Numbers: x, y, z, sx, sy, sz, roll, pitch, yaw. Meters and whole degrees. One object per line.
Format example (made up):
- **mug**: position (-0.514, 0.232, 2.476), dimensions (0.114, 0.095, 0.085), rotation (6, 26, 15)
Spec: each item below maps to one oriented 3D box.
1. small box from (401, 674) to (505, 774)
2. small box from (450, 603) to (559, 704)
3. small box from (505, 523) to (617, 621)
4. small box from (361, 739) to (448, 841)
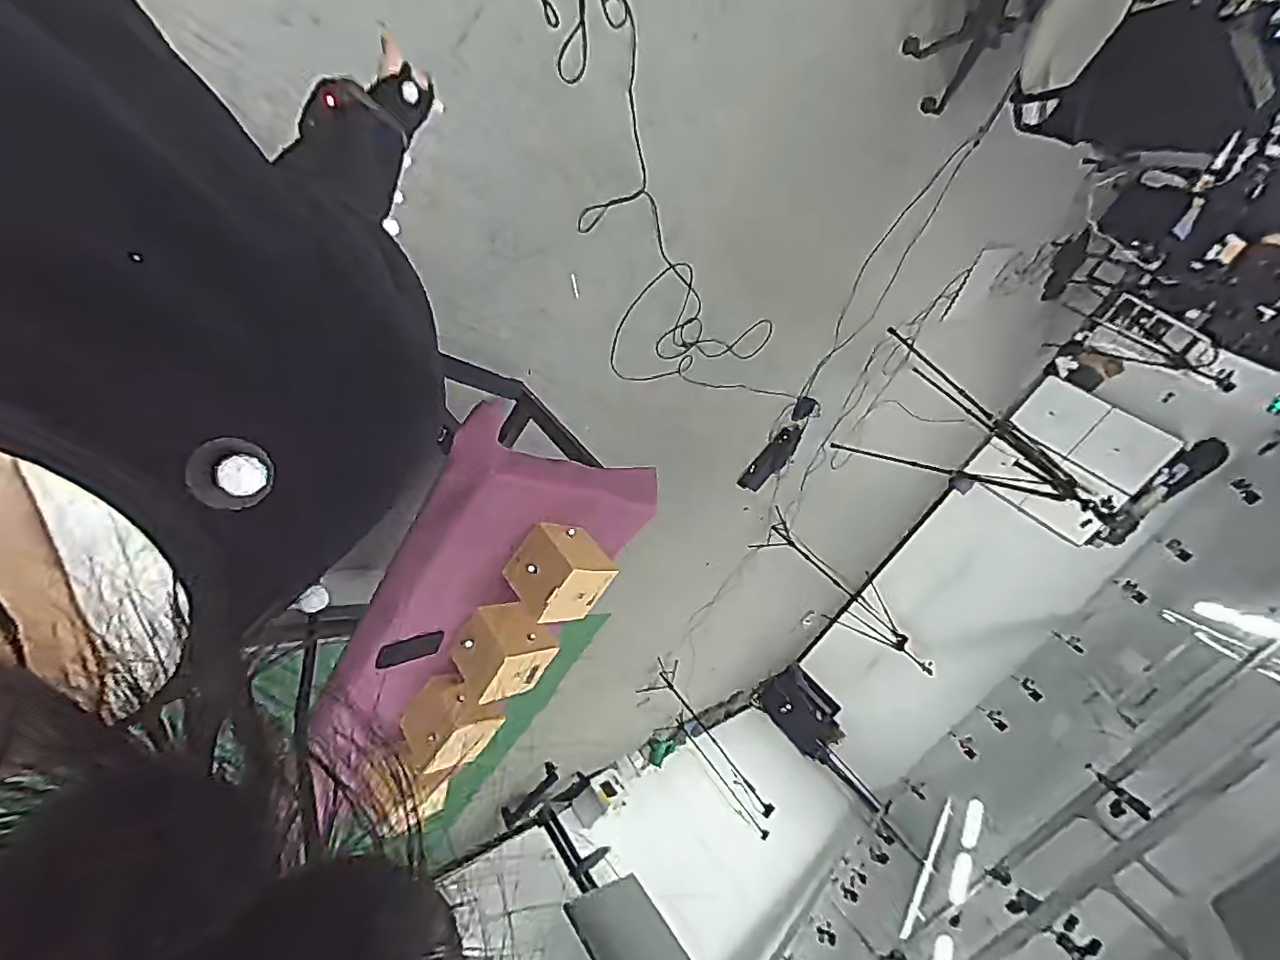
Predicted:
- **small box**: position (-0.502, 0.635, 1.436), dimensions (0.179, 0.176, 0.168), rotation (-52, 147, 11)
- **small box**: position (-0.349, 0.433, 1.381), dimensions (0.179, 0.176, 0.168), rotation (9, 119, -52)
- **small box**: position (-0.196, 0.222, 1.315), dimensions (0.168, 0.176, 0.179), rotation (-53, 147, 13)
- **small box**: position (-0.654, 0.837, 1.491), dimensions (0.168, 0.176, 0.179), rotation (-12, 135, -43)
